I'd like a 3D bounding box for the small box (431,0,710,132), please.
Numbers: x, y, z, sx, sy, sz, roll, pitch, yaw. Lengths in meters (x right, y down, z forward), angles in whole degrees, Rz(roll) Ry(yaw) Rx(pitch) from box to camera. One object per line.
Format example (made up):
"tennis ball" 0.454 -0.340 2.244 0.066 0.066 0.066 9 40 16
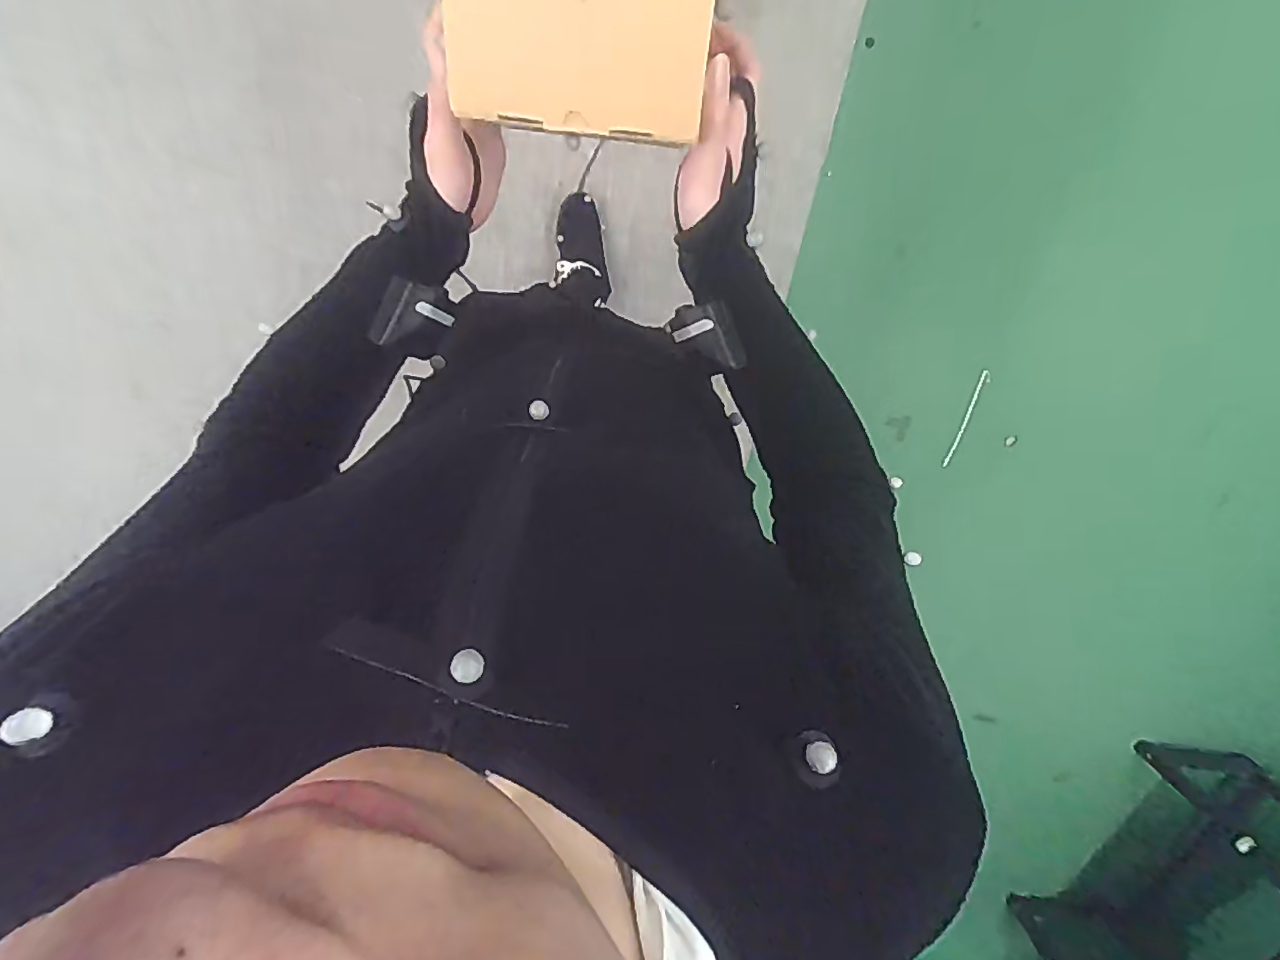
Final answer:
"small box" -0.038 -0.350 0.369 0.168 0.176 0.179 5 123 -3
